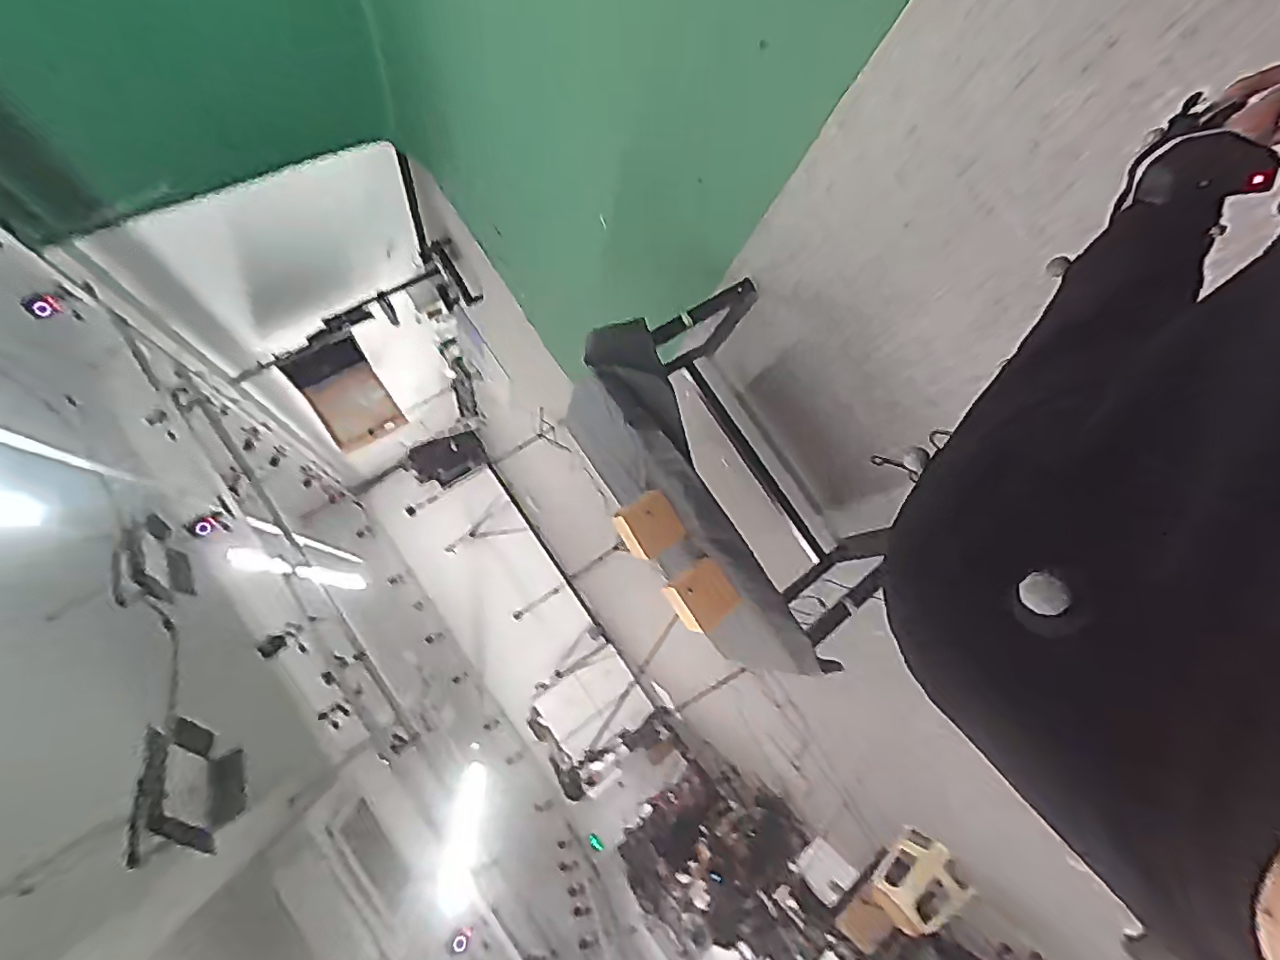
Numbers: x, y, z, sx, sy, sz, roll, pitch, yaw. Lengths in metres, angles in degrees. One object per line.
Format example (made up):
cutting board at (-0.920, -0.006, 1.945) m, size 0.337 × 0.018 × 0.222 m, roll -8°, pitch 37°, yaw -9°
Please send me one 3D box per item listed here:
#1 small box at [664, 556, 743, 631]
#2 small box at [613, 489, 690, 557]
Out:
small box at (0.212, 0.372, 1.792) m, size 0.179 × 0.176 × 0.168 m, roll 58°, pitch 163°, yaw 2°
small box at (0.039, 0.141, 1.860) m, size 0.179 × 0.176 × 0.168 m, roll 59°, pitch 163°, yaw -7°
